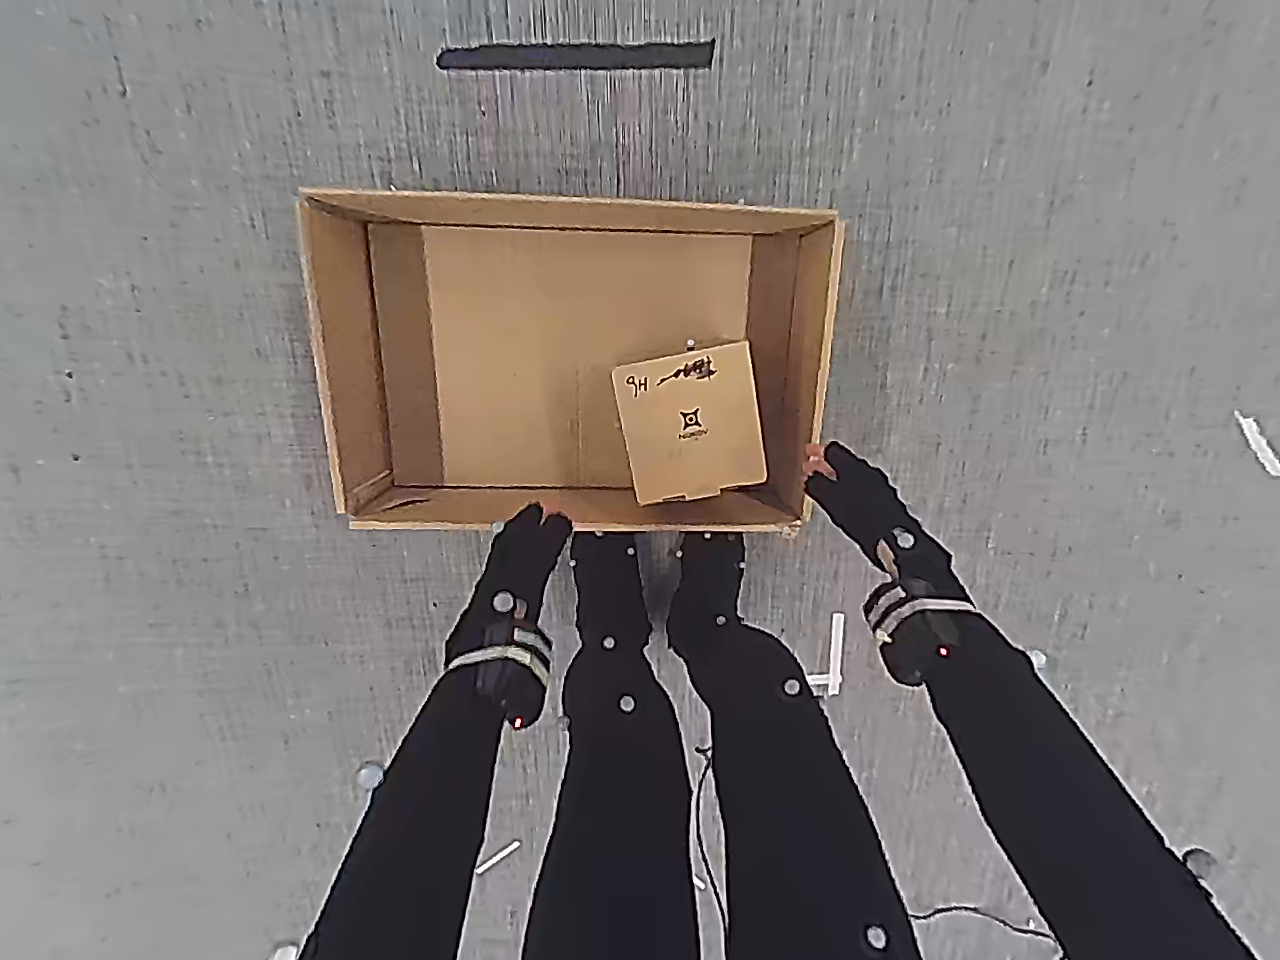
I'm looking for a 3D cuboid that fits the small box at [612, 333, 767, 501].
[{"bbox_3d":[0.061,-0.092,0.719,0.168,0.176,0.179,-11,107,1],"label":"small box"}]
